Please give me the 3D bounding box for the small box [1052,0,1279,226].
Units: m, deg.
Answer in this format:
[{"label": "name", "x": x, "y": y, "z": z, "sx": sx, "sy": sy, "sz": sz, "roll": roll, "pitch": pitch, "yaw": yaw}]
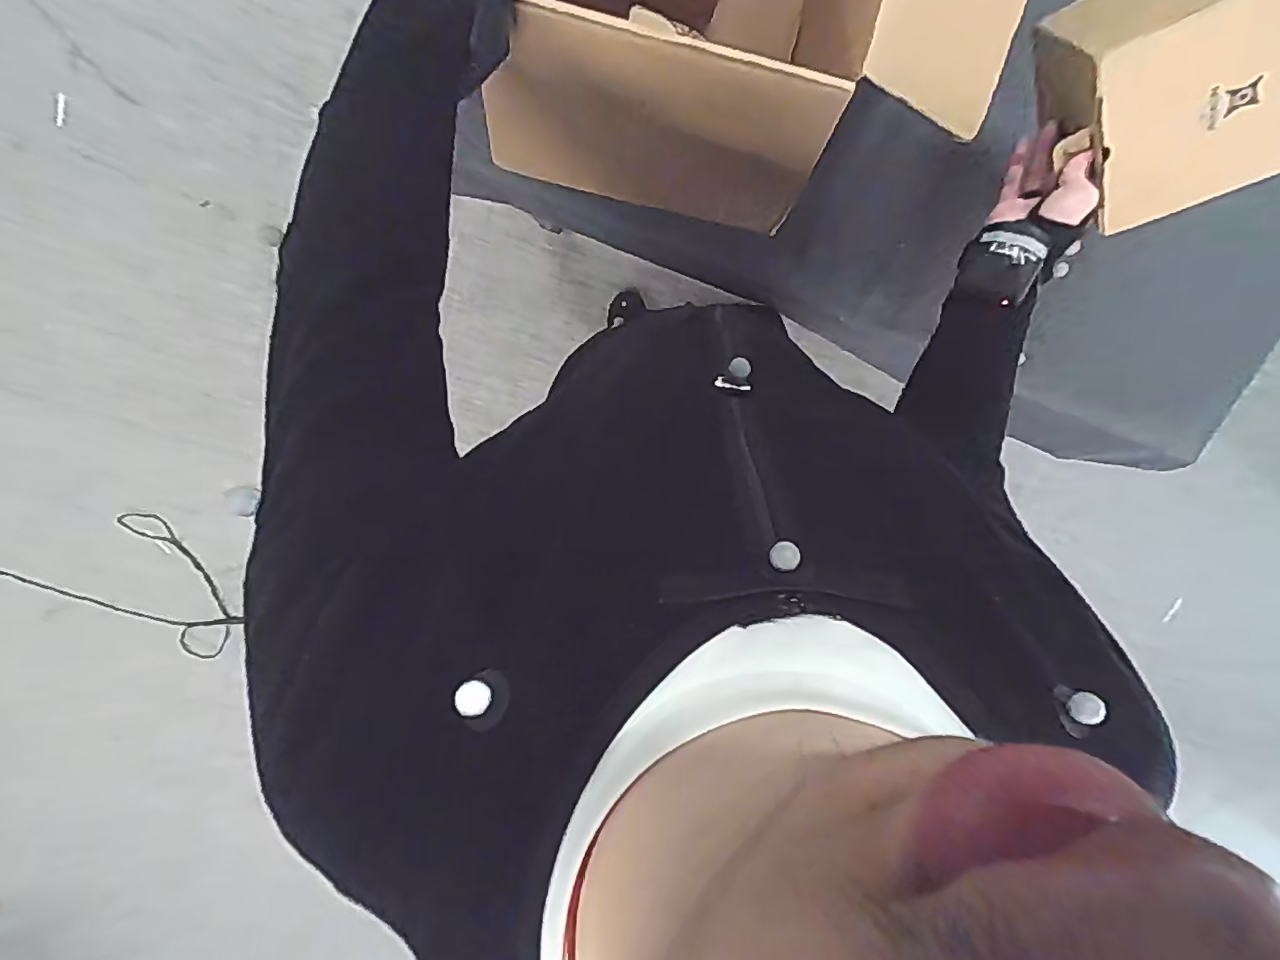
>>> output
[{"label": "small box", "x": 0.506, "y": -0.376, "z": 0.498, "sx": 0.179, "sy": 0.176, "sz": 0.168, "roll": -14, "pitch": 131, "yaw": 29}]
